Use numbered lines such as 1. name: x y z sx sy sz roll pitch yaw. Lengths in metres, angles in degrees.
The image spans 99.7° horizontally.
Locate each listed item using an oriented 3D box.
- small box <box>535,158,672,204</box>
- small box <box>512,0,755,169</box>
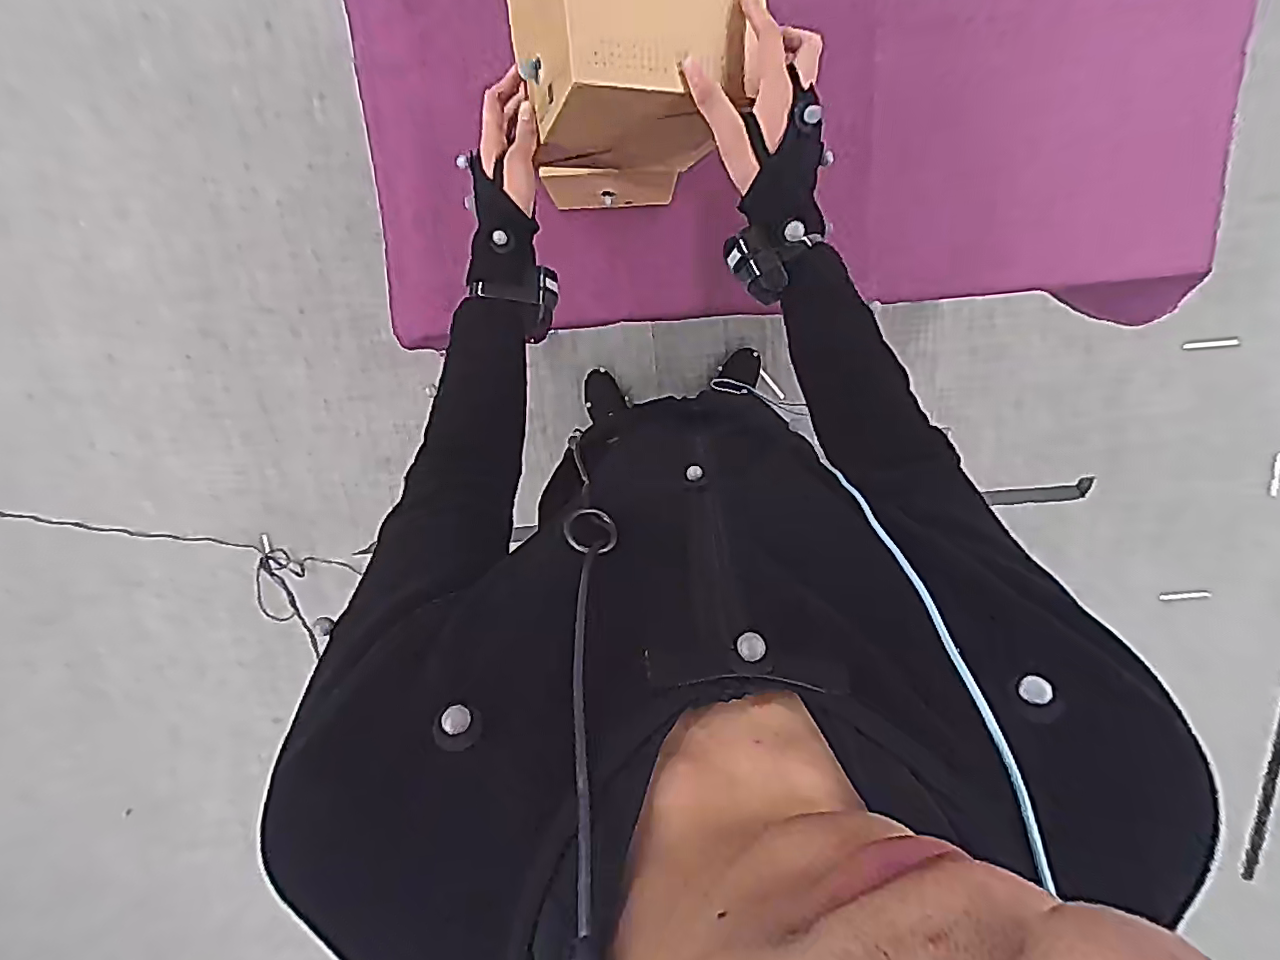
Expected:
1. small box: -0.045 -0.463 0.692 0.168 0.176 0.179 -3 104 -1
2. small box: -0.011 -0.395 0.482 0.179 0.168 0.176 -11 102 -20
